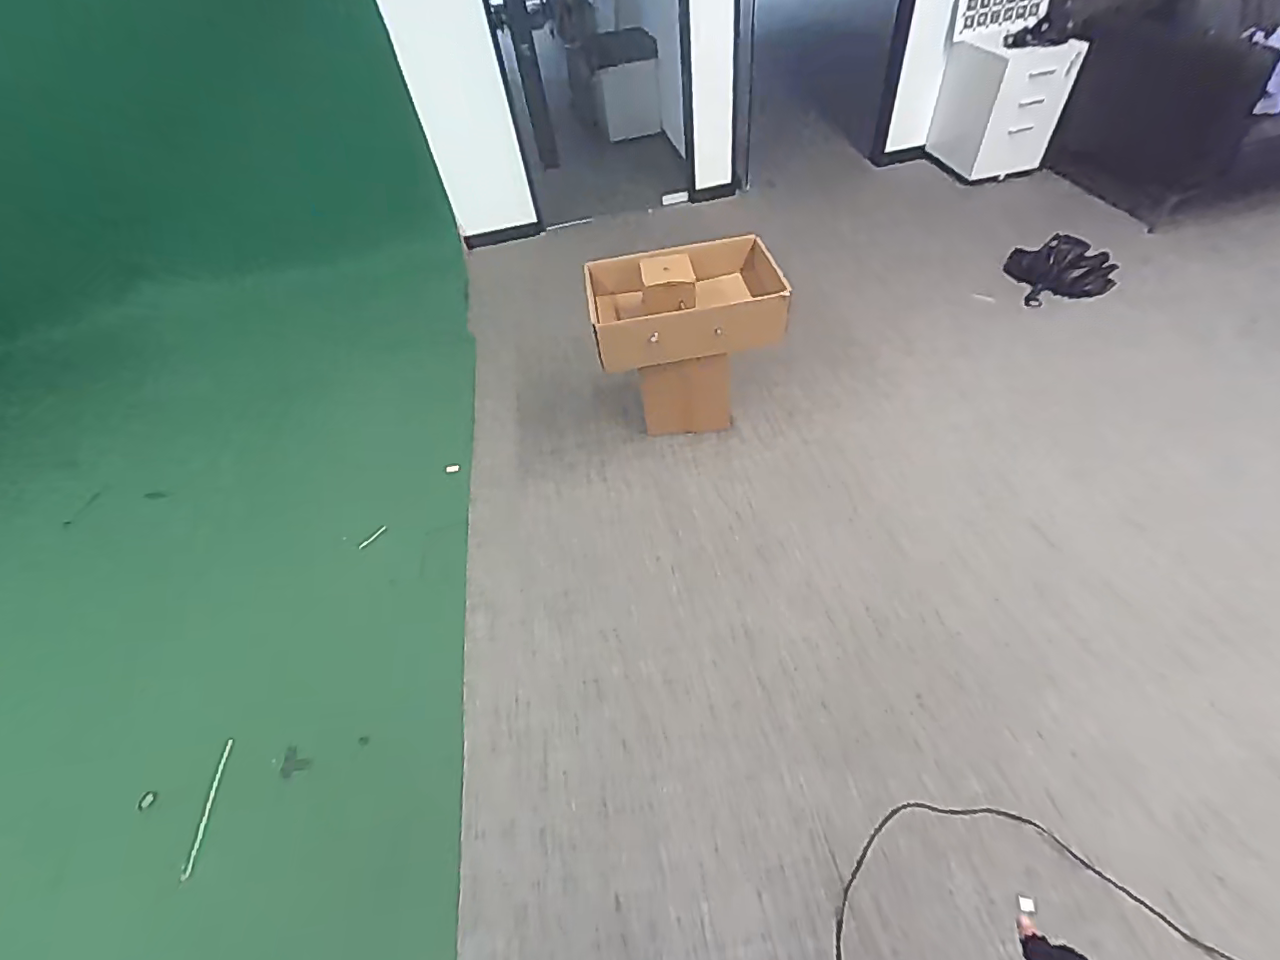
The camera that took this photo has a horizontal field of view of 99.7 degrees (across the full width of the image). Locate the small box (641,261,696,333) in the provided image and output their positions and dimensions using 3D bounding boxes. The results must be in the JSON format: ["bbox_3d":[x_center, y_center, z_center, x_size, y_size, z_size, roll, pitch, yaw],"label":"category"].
[{"bbox_3d":[0.096,-0.607,1.807,0.168,0.176,0.179,-7,46,-1],"label":"small box"}]
